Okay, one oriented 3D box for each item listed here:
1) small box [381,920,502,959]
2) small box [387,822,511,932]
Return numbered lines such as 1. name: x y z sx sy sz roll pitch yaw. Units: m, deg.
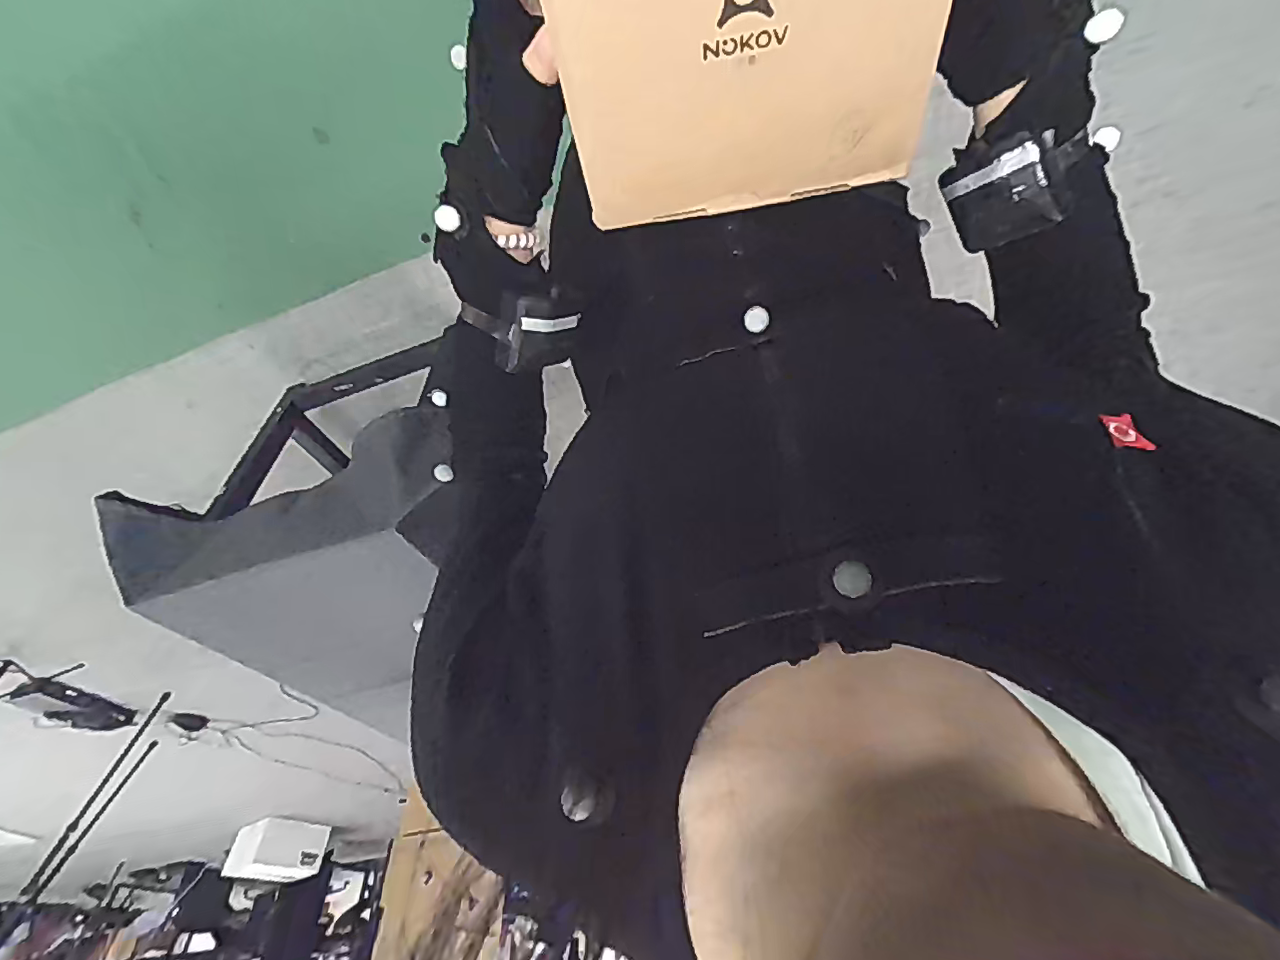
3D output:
1. small box: -0.377 0.941 1.005 0.179 0.176 0.168 -14 134 10
2. small box: -0.385 0.828 1.123 0.168 0.176 0.179 -15 134 11
